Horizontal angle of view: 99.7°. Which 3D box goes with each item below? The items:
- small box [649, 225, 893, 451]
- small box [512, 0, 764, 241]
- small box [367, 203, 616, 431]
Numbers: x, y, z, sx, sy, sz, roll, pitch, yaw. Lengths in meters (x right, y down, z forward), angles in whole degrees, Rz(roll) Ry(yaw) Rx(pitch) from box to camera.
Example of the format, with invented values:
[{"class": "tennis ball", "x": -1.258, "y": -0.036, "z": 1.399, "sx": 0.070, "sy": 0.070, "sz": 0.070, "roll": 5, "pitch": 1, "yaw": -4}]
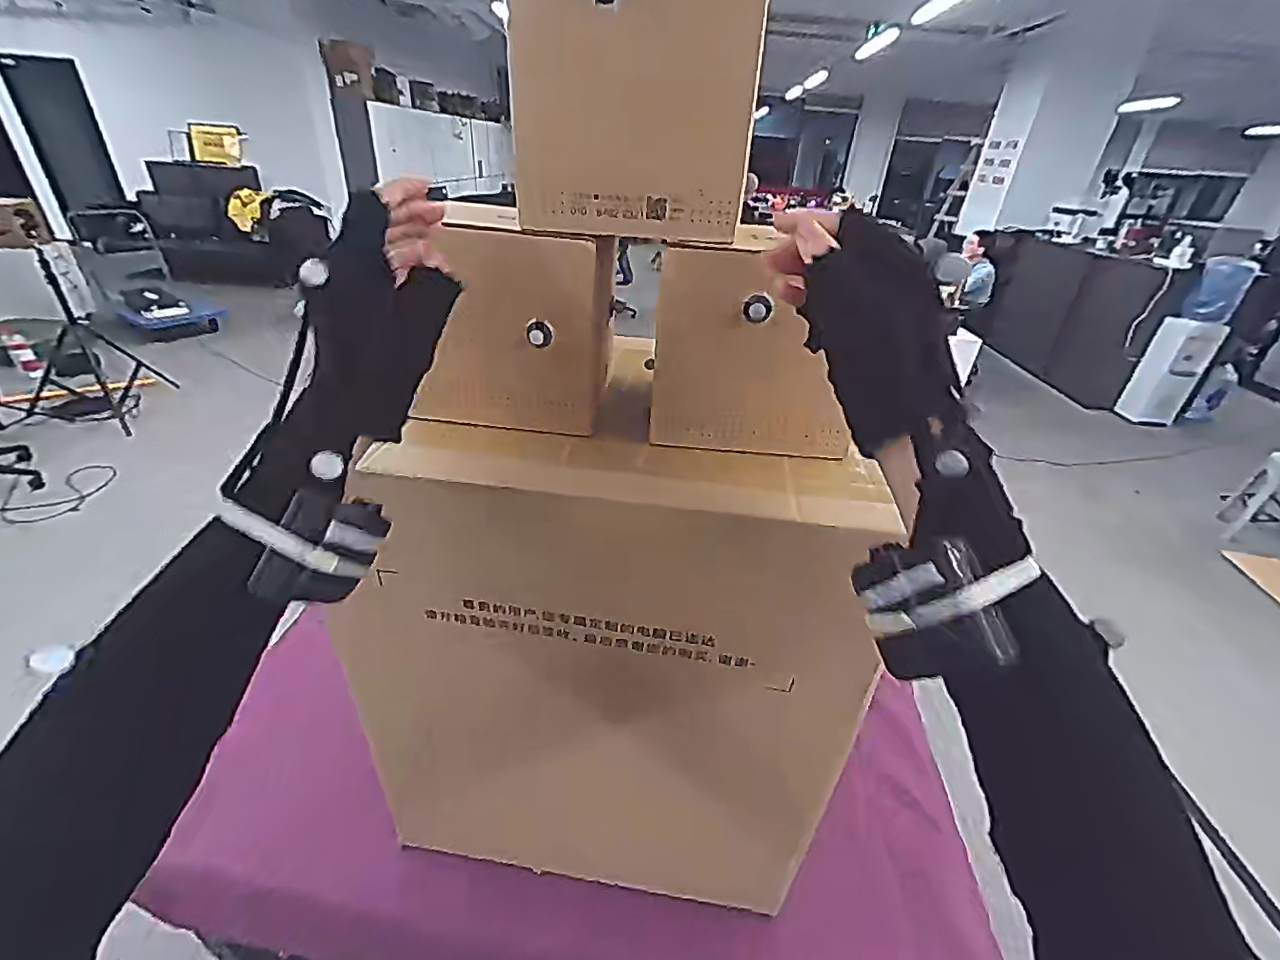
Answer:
[{"class": "small box", "x": 0.102, "y": -0.138, "z": 0.504, "sx": 0.179, "sy": 0.176, "sz": 0.168, "roll": 5, "pitch": 30, "yaw": 1}, {"class": "small box", "x": -0.001, "y": -0.293, "z": 0.436, "sx": 0.168, "sy": 0.176, "sz": 0.179, "roll": 4, "pitch": 29, "yaw": 3}, {"class": "small box", "x": -0.121, "y": -0.157, "z": 0.514, "sx": 0.179, "sy": 0.176, "sz": 0.168, "roll": 5, "pitch": 30, "yaw": 2}]
